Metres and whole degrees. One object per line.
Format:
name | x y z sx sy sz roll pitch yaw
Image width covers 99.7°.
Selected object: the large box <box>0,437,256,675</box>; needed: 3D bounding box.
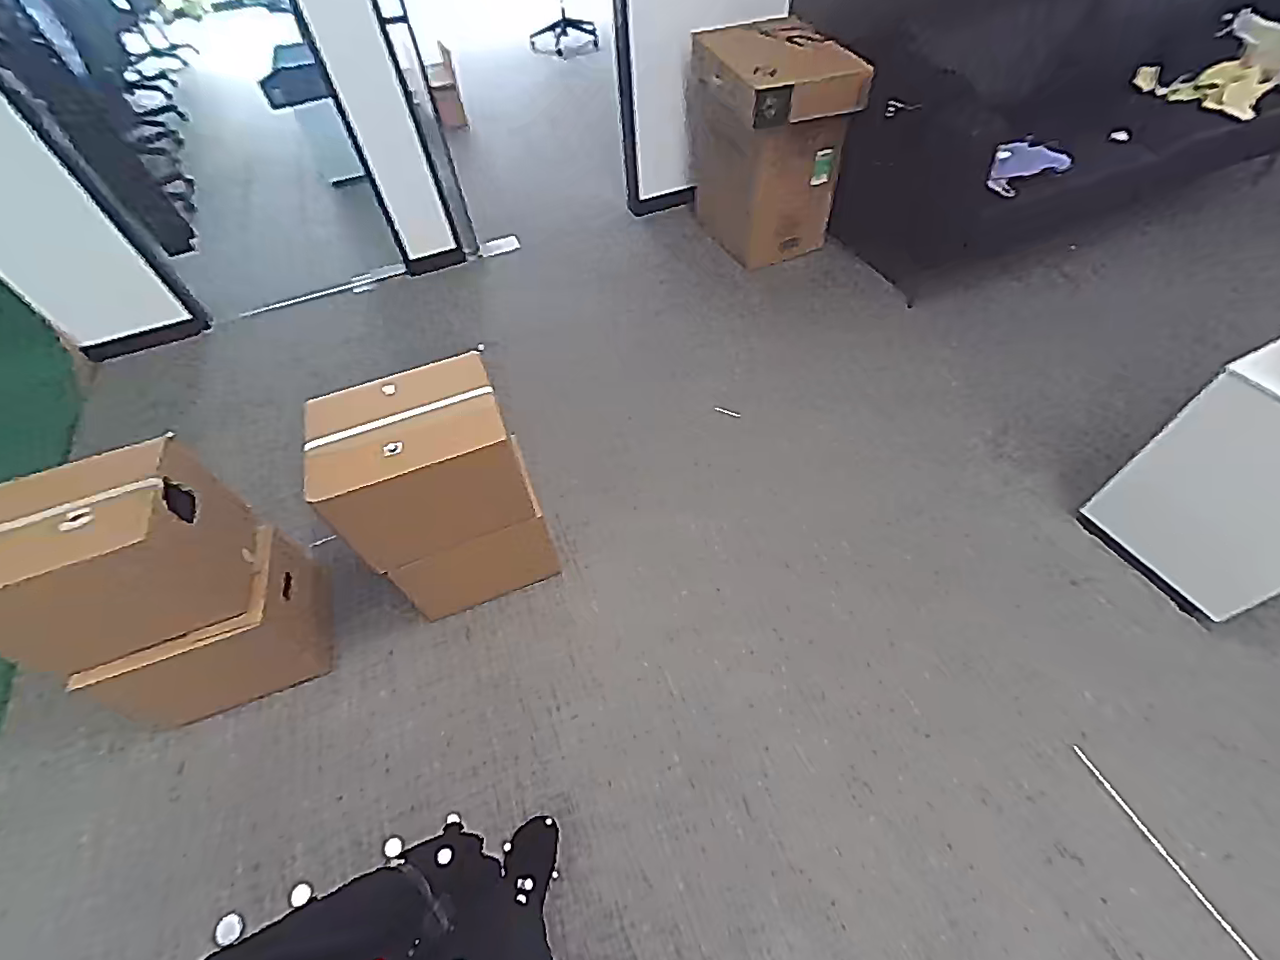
large box | -1.162 0.165 1.194 0.408 0.320 0.320 -18 50 -11
